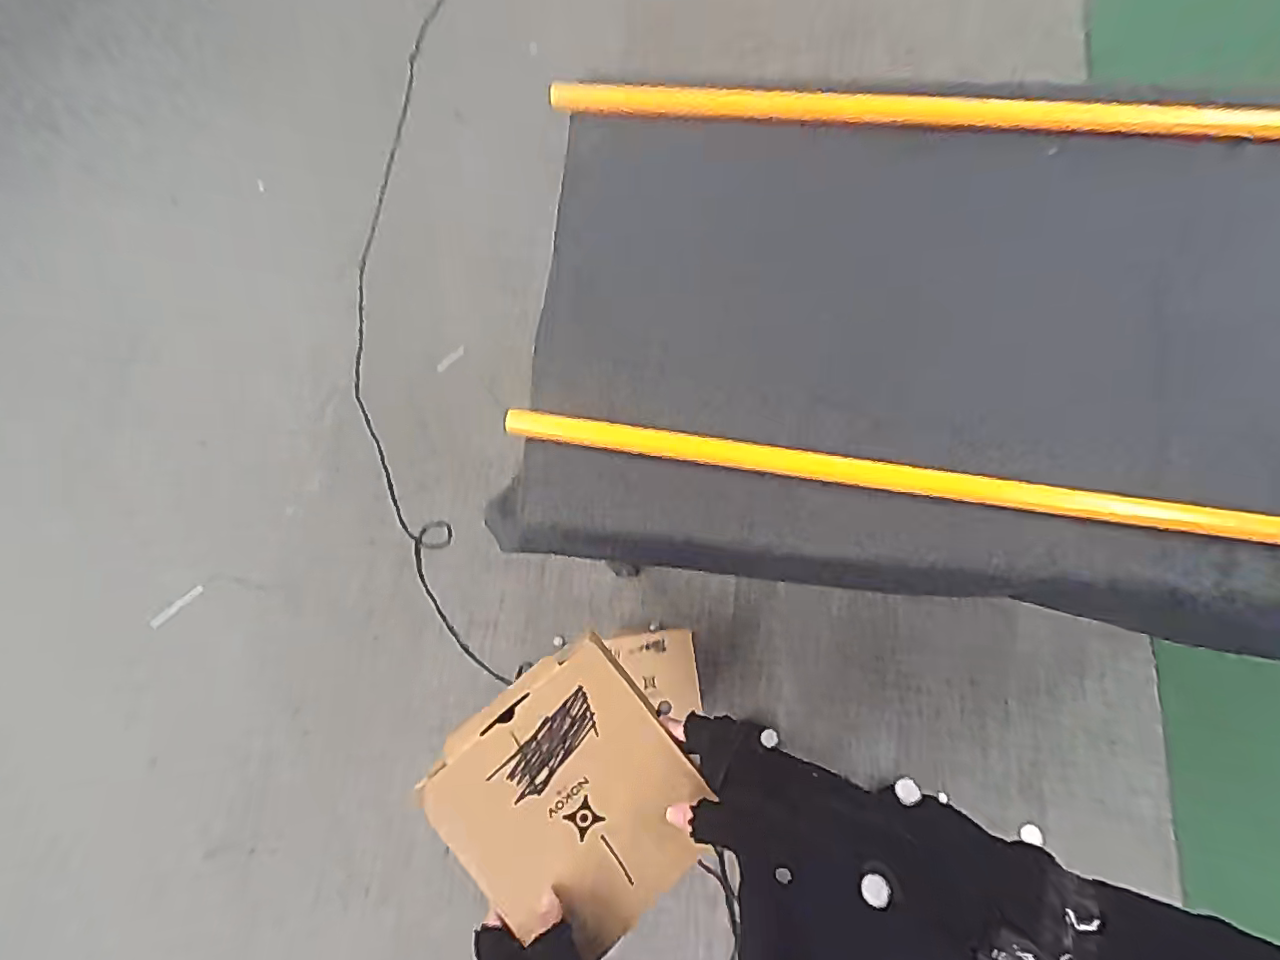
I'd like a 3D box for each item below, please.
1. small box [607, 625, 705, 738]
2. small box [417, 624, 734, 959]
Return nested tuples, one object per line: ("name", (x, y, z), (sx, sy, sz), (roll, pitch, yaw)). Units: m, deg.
("small box", (0.023, 0.365, 0.978), (0.168, 0.176, 0.179), (-11, 74, 3))
("small box", (-0.054, 0.243, 0.468), (0.168, 0.176, 0.179), (-39, 85, -12))
